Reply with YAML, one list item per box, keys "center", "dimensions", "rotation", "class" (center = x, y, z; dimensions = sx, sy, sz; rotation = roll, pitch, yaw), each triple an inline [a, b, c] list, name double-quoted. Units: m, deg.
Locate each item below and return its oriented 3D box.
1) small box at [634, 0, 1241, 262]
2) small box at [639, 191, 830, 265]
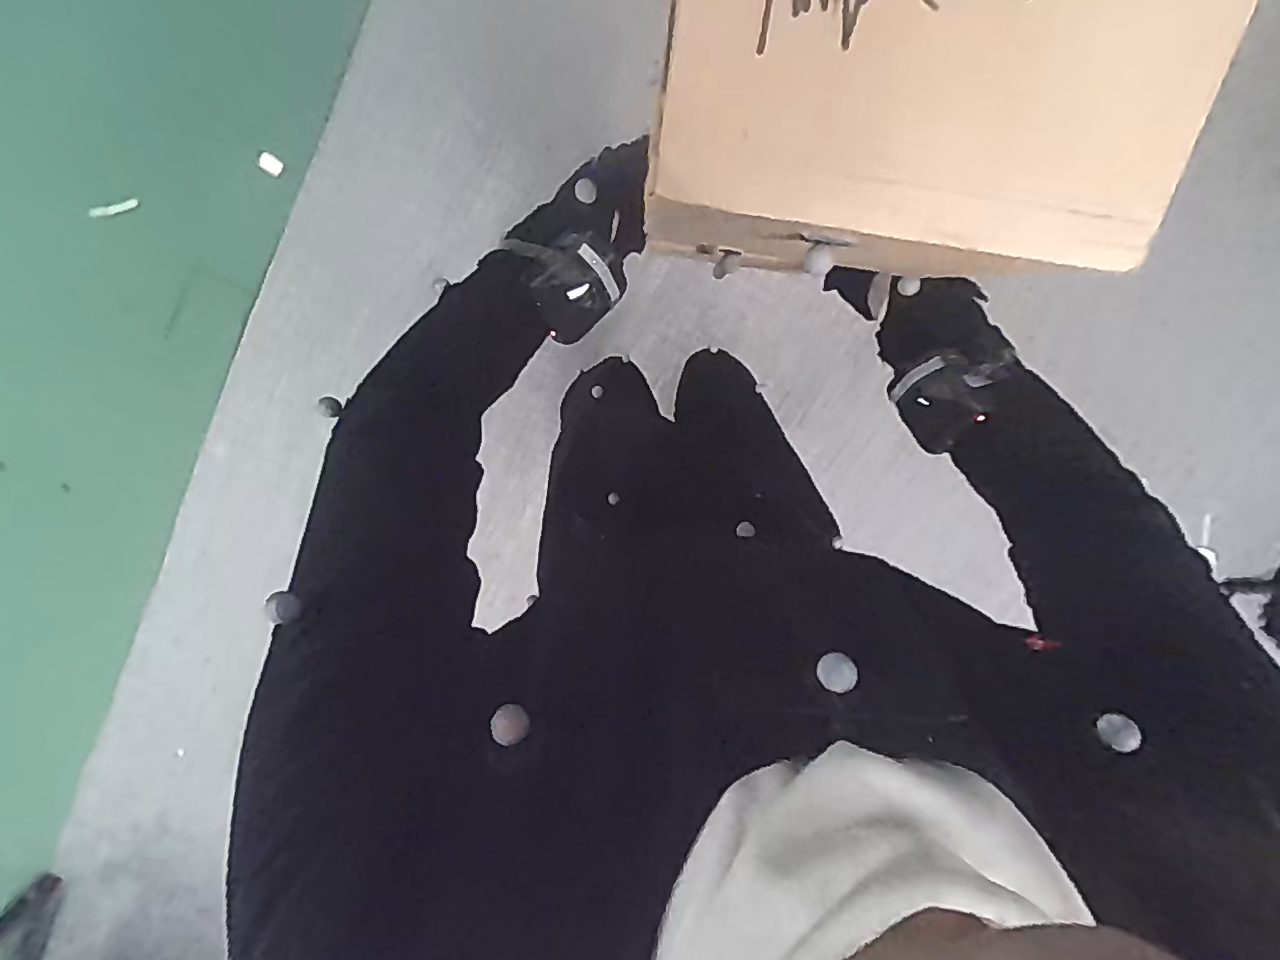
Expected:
- center: [0.096, -0.191, 0.231]
  dimensions: [0.179, 0.176, 0.168]
  rotation: [7, 112, -2]
  class: "small box"
- center: [0.096, -0.313, 0.534]
  dimensions: [0.179, 0.176, 0.168]
  rotation: [7, 111, -3]
  class: "small box"
